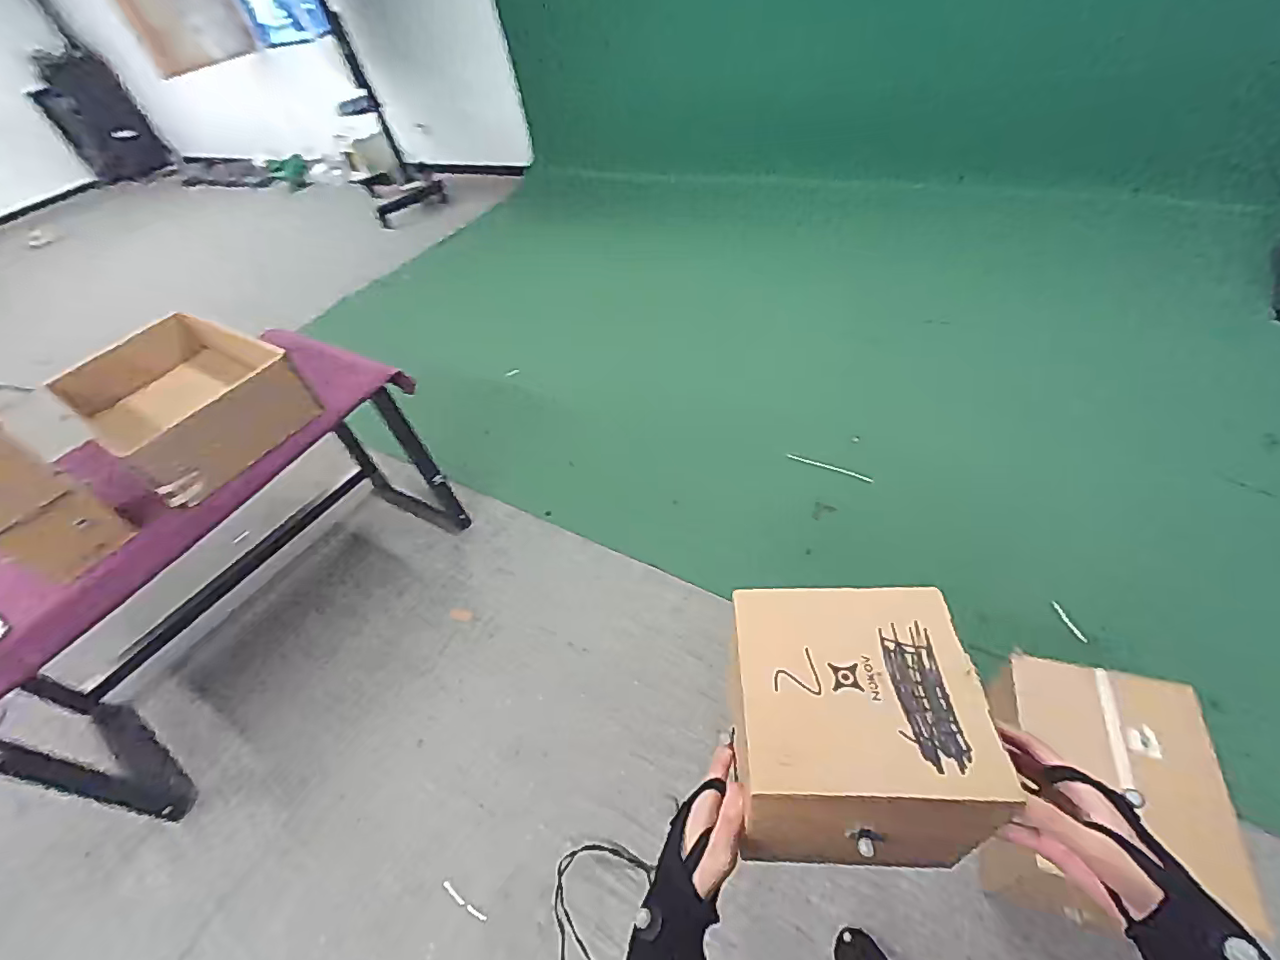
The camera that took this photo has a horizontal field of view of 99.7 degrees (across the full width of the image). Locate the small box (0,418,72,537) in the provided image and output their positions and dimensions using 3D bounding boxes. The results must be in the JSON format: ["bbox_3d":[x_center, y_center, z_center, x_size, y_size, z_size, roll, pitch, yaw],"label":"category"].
[{"bbox_3d":[-1.278,-0.008,1.053,0.168,0.176,0.179,21,55,30],"label":"small box"}]

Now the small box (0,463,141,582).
[{"bbox_3d":[-1.256,0.096,1.179,0.179,0.176,0.168,21,54,30],"label":"small box"}]

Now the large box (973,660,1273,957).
[{"bbox_3d":[0.897,0.648,1.091,0.320,0.320,0.408,8,48,19],"label":"large box"}]
